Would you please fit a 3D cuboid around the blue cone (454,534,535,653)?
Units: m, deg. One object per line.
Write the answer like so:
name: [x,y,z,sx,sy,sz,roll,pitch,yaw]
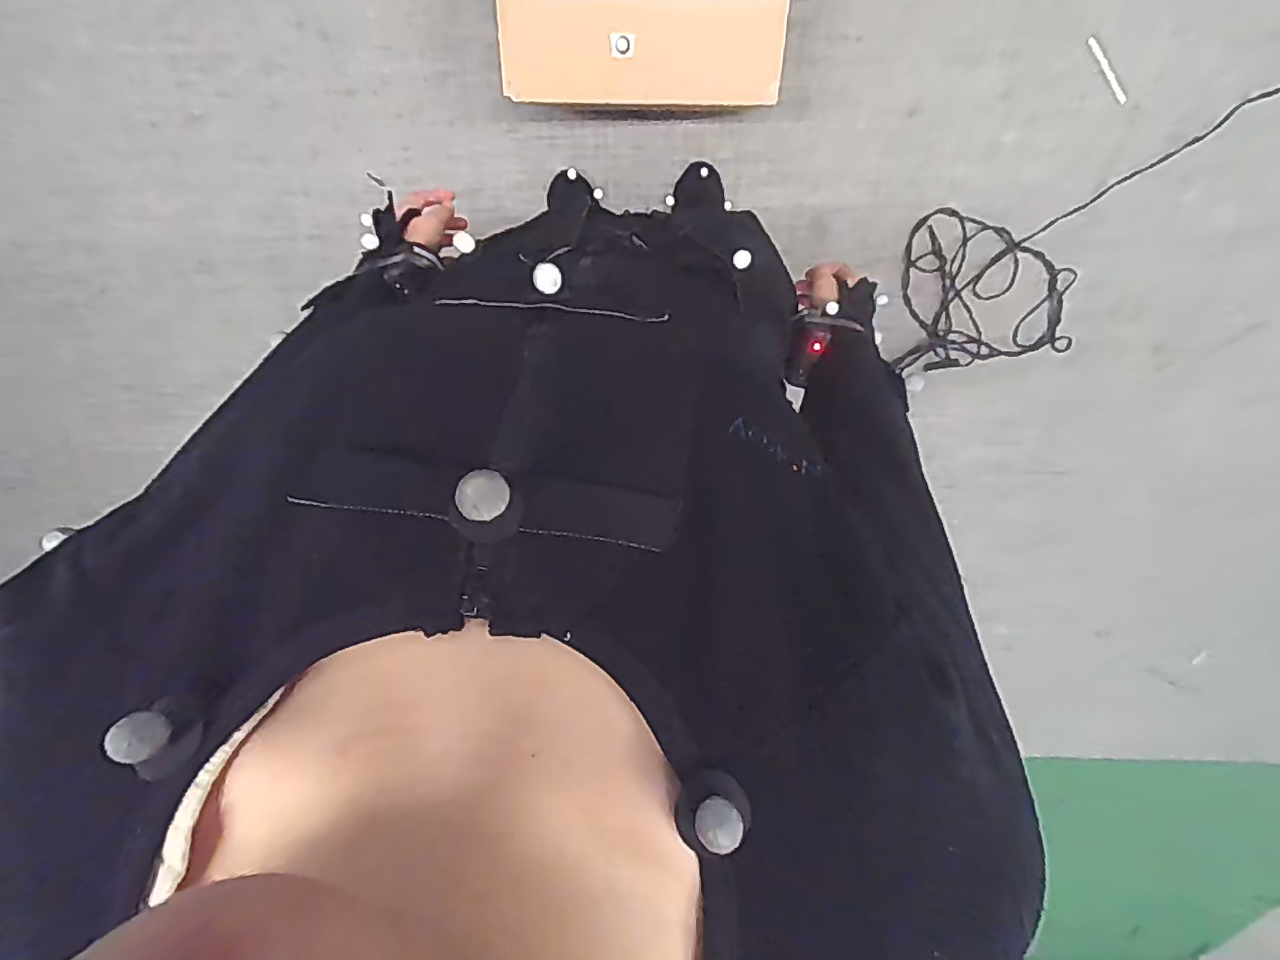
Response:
blue cone: [-0.425,0.322,1.499,0.192,0.380,0.193,1,121,2]
